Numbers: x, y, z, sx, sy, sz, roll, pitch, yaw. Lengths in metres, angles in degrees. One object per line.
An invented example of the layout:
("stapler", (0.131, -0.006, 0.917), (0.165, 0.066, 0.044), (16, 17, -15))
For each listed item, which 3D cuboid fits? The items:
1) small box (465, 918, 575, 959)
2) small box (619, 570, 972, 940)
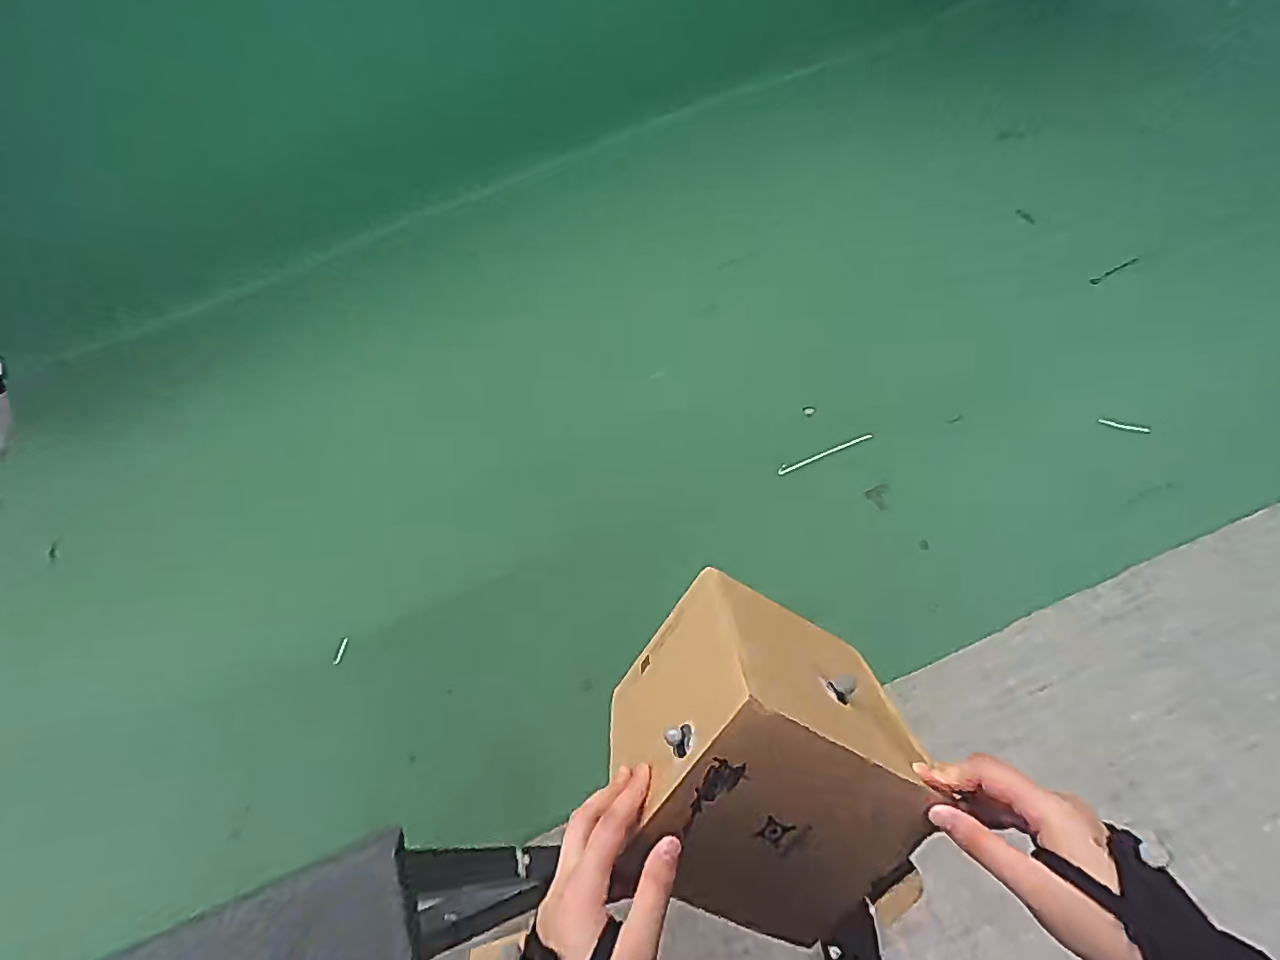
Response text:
("small box", (-0.223, 0.991, 1.054), (0.168, 0.176, 0.179), (-18, 54, 0))
("small box", (0.099, 0.200, 0.427), (0.168, 0.179, 0.176), (-56, 12, 15))
